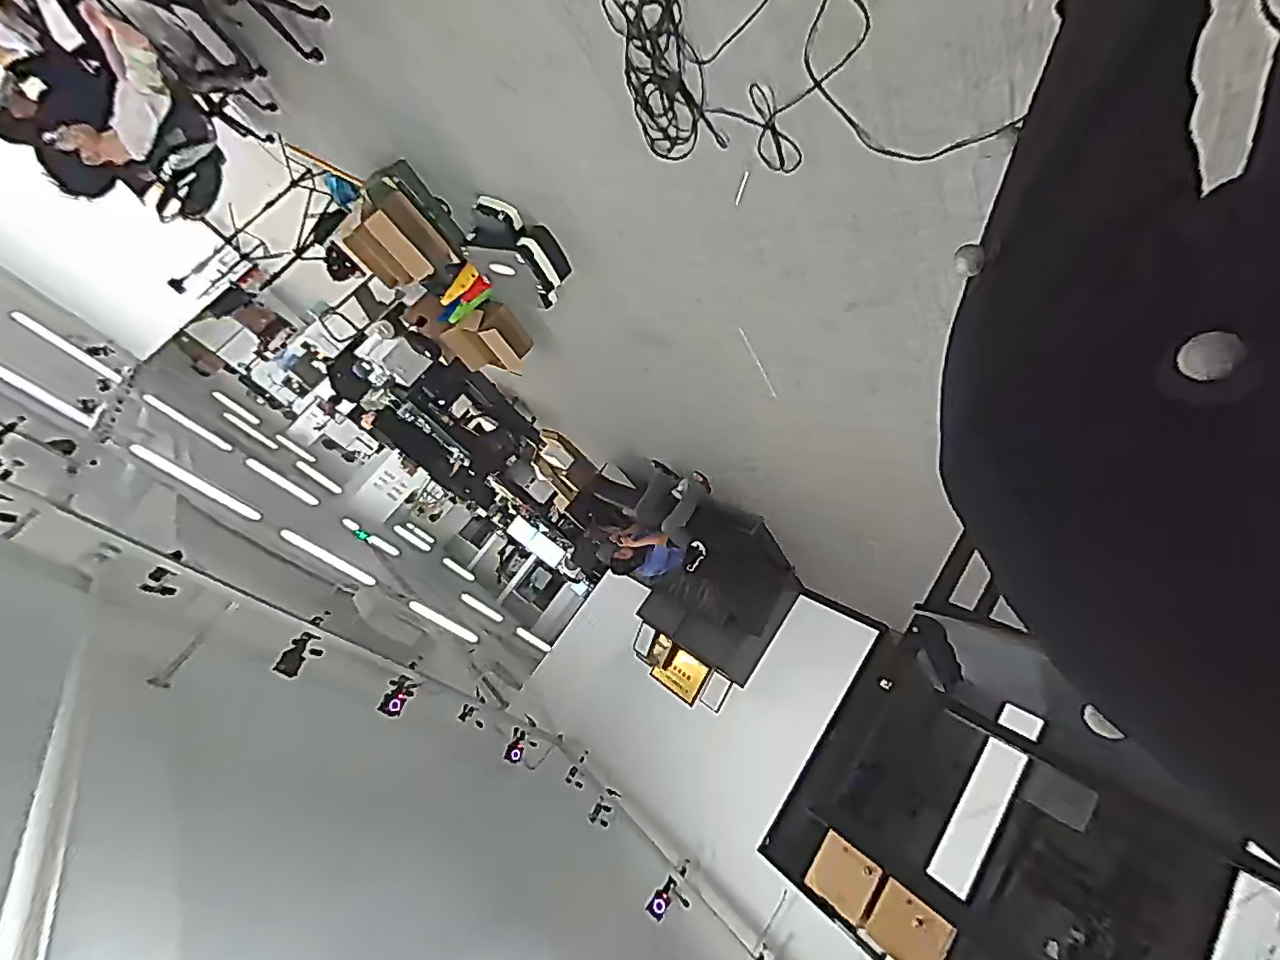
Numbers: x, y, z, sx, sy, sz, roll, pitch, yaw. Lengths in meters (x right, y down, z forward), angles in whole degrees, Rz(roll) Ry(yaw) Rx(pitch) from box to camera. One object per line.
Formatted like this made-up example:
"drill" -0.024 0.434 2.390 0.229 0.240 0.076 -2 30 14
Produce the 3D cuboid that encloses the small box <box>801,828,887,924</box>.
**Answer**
"small box" 0.611 1.174 1.610 0.168 0.176 0.179 22 160 44

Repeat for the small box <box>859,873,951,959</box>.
"small box" 0.730 1.219 1.480 0.168 0.176 0.179 24 160 44
